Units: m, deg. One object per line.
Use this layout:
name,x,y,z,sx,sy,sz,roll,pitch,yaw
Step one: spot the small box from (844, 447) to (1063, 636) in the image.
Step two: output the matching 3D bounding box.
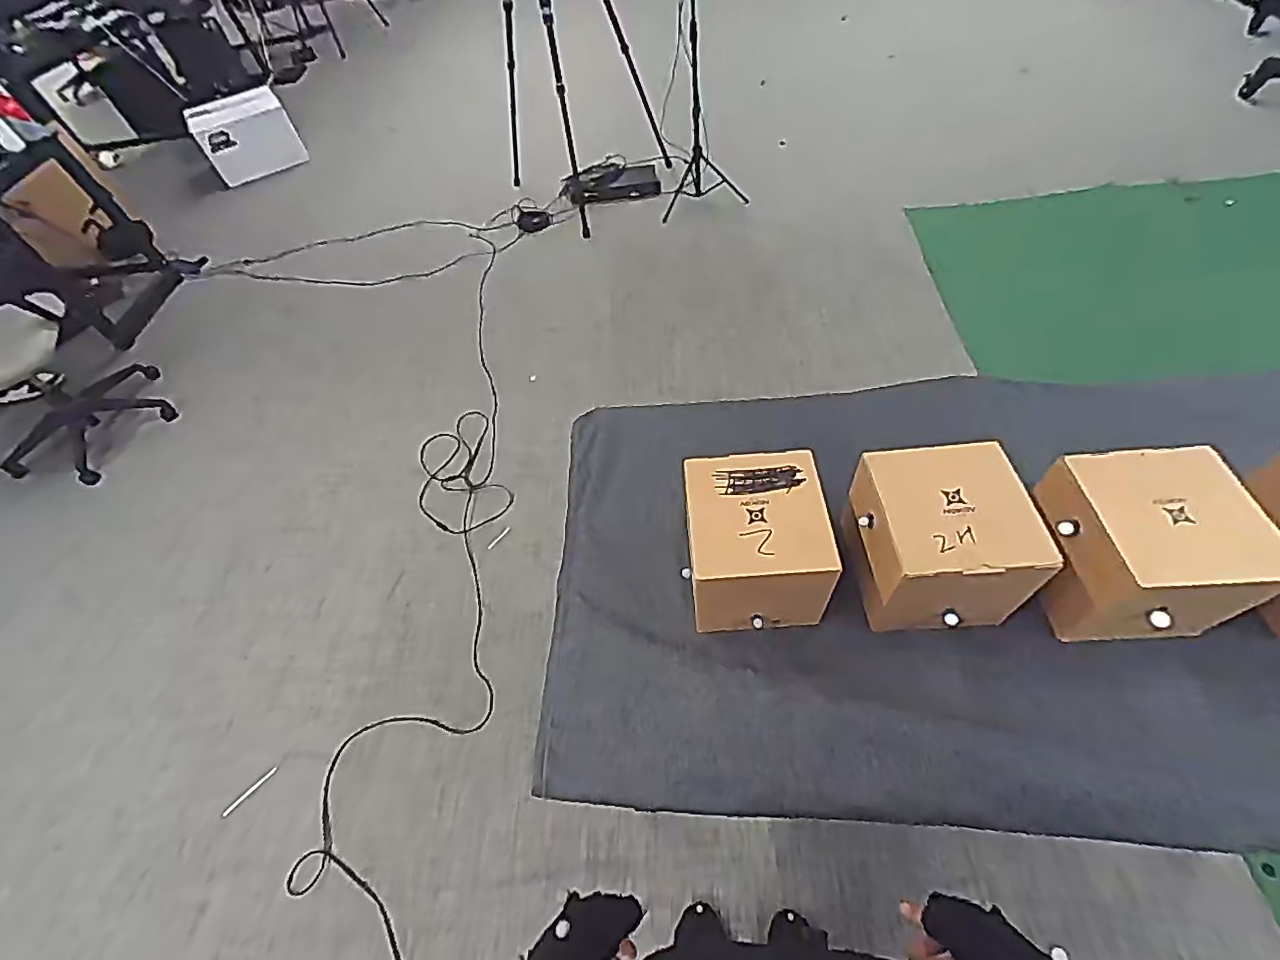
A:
small box,0.371,0.081,0.685,0.168,0.176,0.179,-5,53,6

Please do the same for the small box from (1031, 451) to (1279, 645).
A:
small box,0.593,0.089,0.649,0.168,0.176,0.179,-4,52,5
